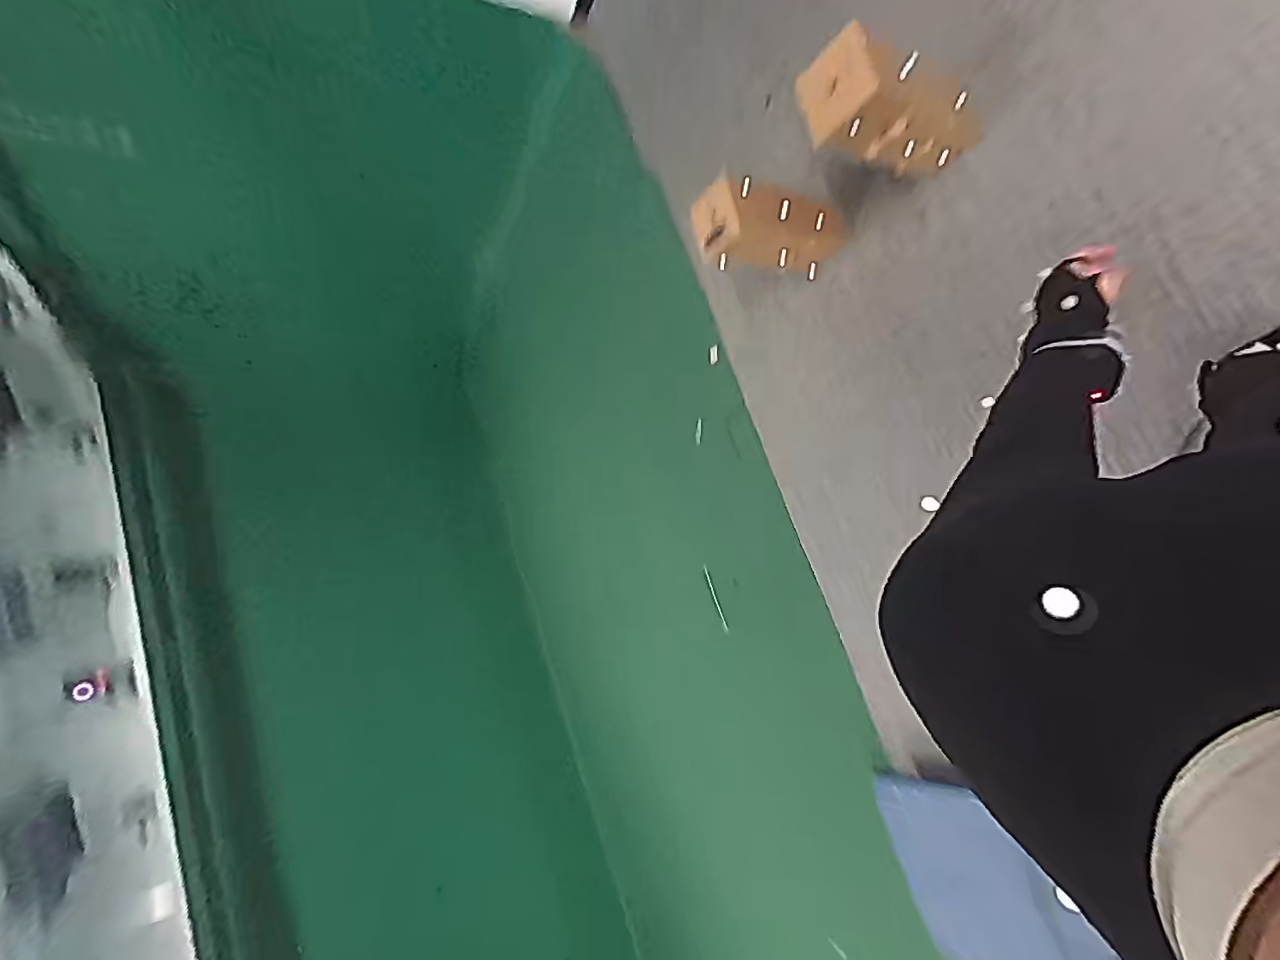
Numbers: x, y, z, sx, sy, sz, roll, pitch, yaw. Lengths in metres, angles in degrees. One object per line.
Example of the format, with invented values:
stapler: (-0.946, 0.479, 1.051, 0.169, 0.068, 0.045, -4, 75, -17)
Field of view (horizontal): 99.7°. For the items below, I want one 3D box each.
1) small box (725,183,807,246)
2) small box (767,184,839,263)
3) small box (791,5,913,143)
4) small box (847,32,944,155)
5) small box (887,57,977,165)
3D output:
small box: (0.393, -0.825, 1.694, 0.179, 0.176, 0.168, 29, 125, 48)
small box: (0.525, -0.836, 1.777, 0.168, 0.176, 0.179, -22, 81, 55)
small box: (0.481, -0.908, 1.232, 0.179, 0.176, 0.168, -20, 85, 55)
small box: (0.609, -0.937, 1.328, 0.168, 0.176, 0.179, -20, 84, 56)
small box: (0.745, -0.958, 1.419, 0.168, 0.176, 0.179, -27, 79, 55)
